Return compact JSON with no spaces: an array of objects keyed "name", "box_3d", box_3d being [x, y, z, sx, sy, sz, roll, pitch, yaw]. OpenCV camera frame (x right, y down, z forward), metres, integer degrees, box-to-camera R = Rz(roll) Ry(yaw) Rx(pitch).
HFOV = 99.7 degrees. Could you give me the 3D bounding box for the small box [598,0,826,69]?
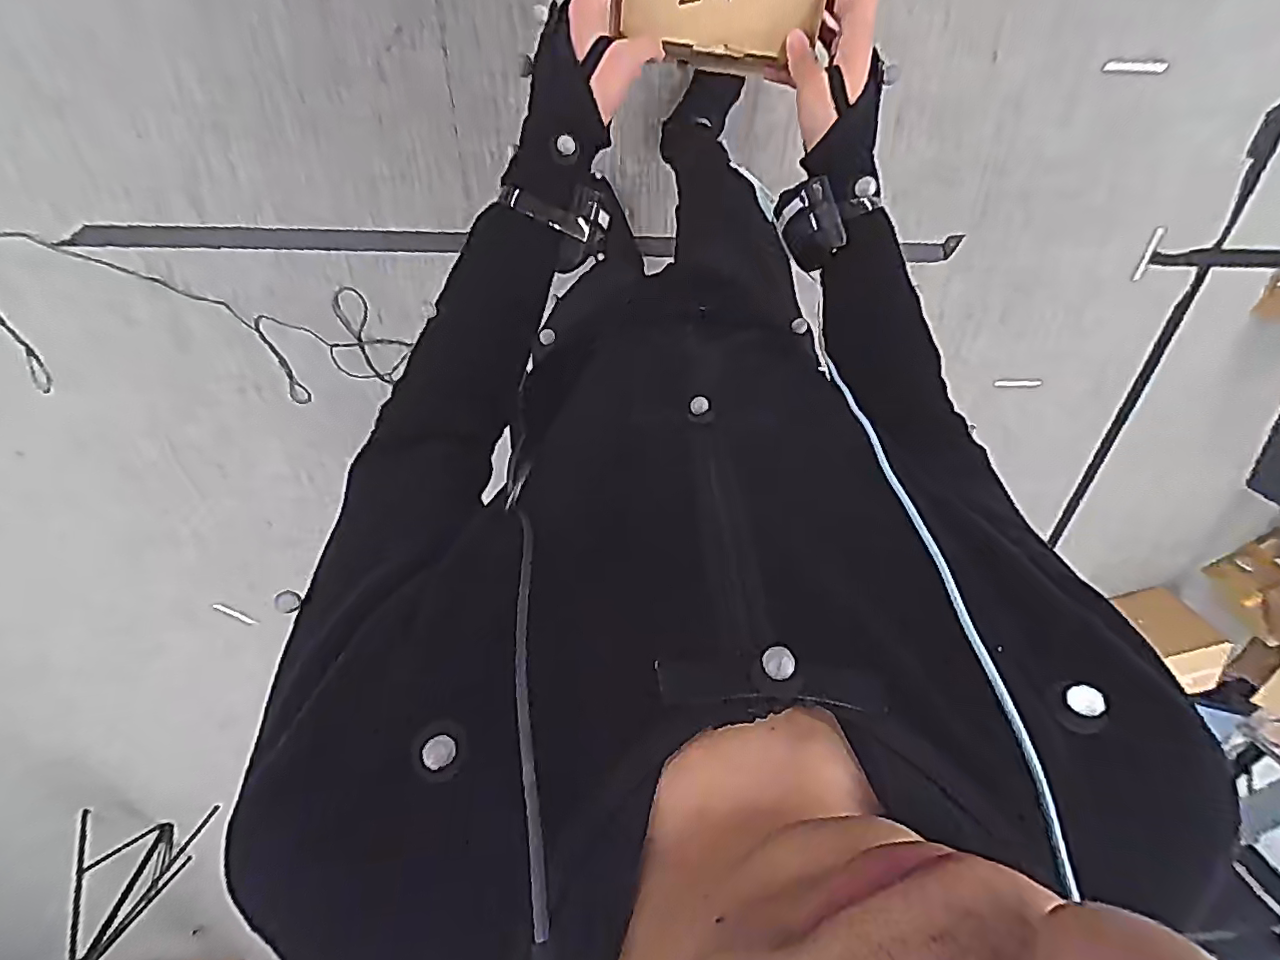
[{"name":"small box","box_3d":[0.059,-0.468,0.453,0.168,0.176,0.179,-1,125,-12]}]
